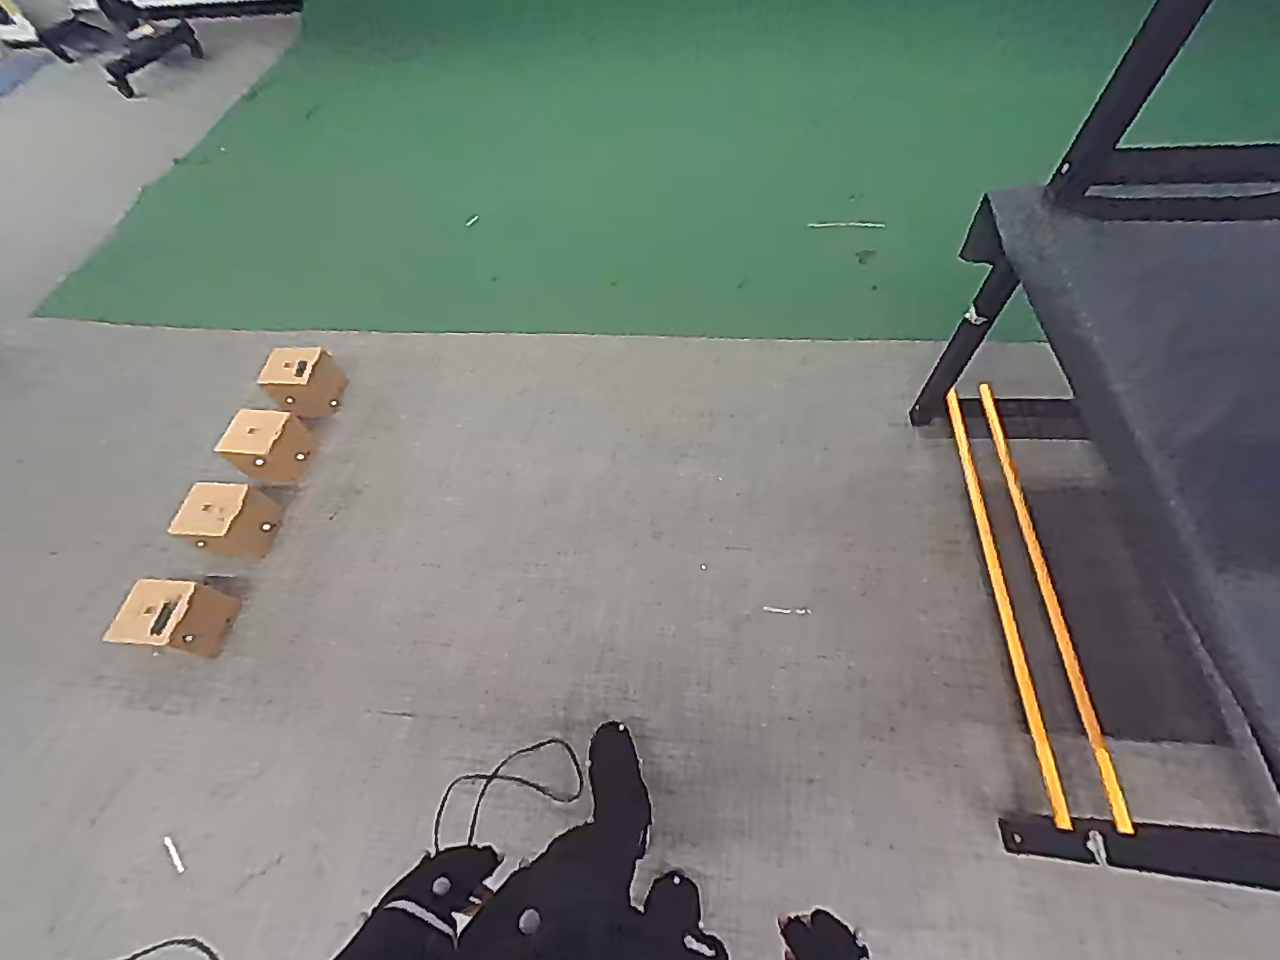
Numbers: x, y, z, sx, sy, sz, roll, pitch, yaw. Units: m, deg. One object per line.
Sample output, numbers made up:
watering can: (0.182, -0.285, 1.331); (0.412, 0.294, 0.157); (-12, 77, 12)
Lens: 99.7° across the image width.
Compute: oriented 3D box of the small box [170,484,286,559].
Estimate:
small box: (-1.199, 0.125, 1.589); (0.179, 0.176, 0.168); (3, 60, 5)

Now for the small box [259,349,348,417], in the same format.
small box: (-1.150, -0.331, 1.867); (0.179, 0.176, 0.168); (1, 58, 5)

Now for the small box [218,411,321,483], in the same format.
small box: (-1.175, -0.102, 1.730); (0.179, 0.176, 0.168); (4, 59, 6)
